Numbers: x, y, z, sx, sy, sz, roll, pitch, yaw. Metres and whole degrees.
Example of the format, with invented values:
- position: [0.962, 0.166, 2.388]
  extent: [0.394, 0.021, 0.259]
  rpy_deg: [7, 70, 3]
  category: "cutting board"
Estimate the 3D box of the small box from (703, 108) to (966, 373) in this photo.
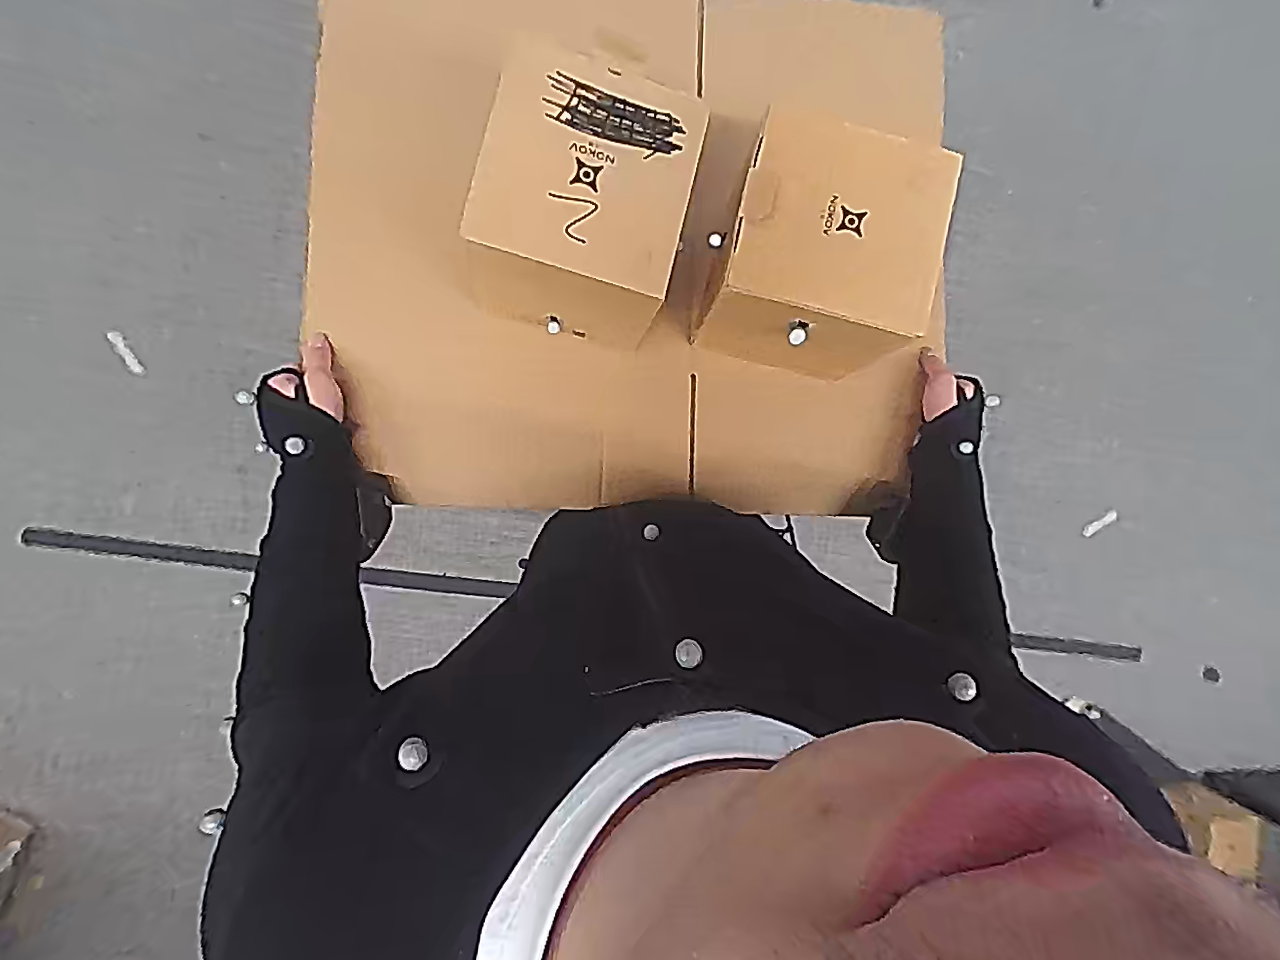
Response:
- position: [0.177, -0.217, 0.543]
  extent: [0.179, 0.176, 0.168]
  rpy_deg: [15, 87, -2]
  category: "small box"
